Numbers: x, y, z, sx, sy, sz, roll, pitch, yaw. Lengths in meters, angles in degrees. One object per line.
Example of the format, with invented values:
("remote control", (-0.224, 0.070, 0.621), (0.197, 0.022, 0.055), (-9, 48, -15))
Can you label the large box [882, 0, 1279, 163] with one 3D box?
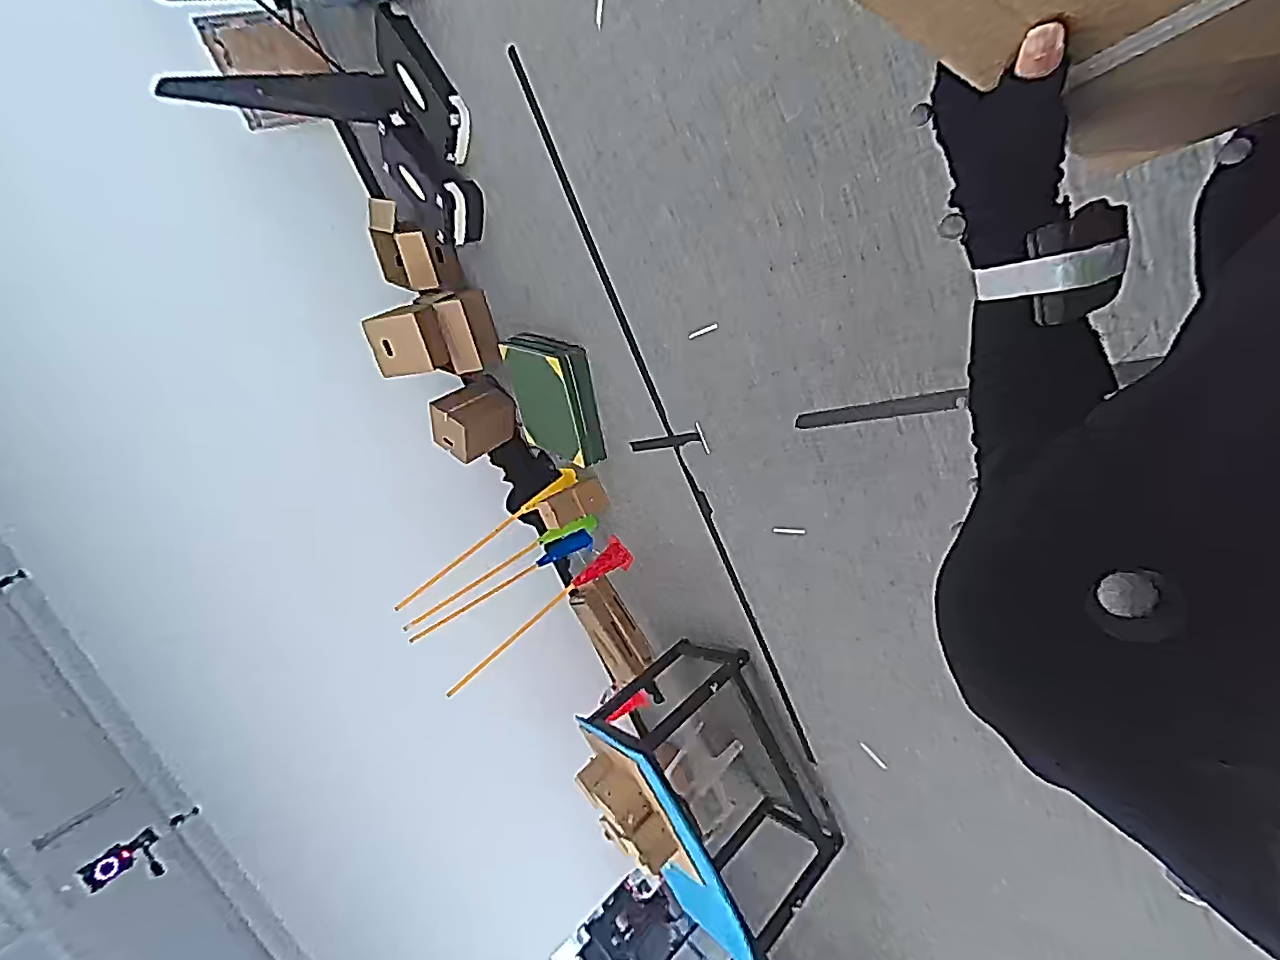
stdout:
("large box", (0.319, -0.380, 0.154), (0.408, 0.320, 0.320), (0, 93, 58))
